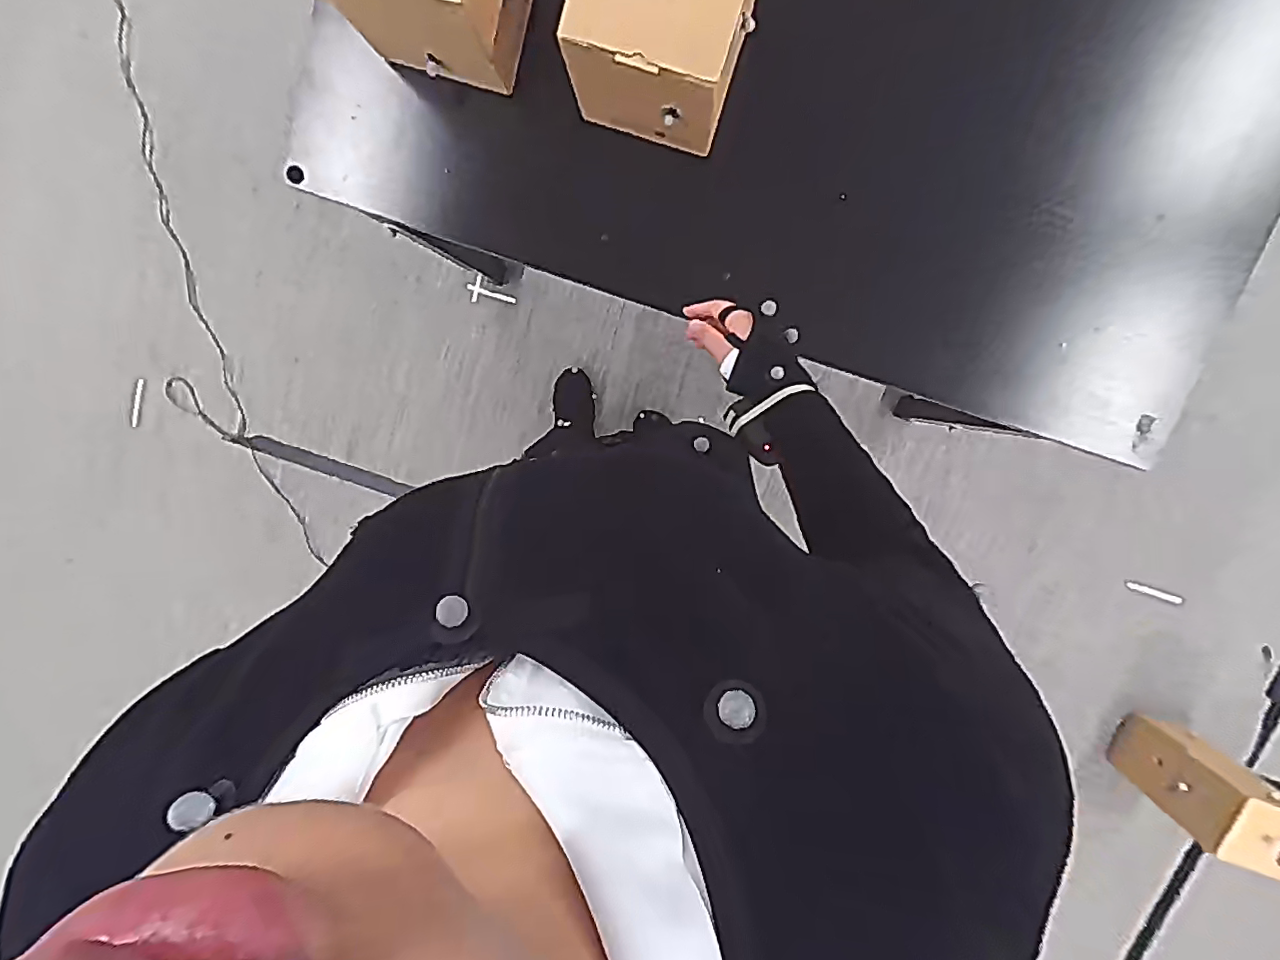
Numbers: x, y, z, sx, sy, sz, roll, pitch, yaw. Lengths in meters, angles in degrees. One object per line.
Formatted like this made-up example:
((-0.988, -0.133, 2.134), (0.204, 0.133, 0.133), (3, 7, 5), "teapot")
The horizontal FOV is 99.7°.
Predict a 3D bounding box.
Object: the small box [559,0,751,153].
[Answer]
((0.026, -0.497, 0.590), (0.168, 0.176, 0.179), (17, 99, -1), "small box")

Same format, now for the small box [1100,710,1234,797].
((1.416, 0.761, 1.468), (0.168, 0.176, 0.179), (18, 101, 1), "small box")

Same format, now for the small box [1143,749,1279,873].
((1.400, 0.789, 1.307), (0.179, 0.176, 0.168), (18, 100, 1), "small box")

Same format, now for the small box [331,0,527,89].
((-0.226, -0.570, 0.589), (0.179, 0.176, 0.168), (16, 100, -1), "small box")
